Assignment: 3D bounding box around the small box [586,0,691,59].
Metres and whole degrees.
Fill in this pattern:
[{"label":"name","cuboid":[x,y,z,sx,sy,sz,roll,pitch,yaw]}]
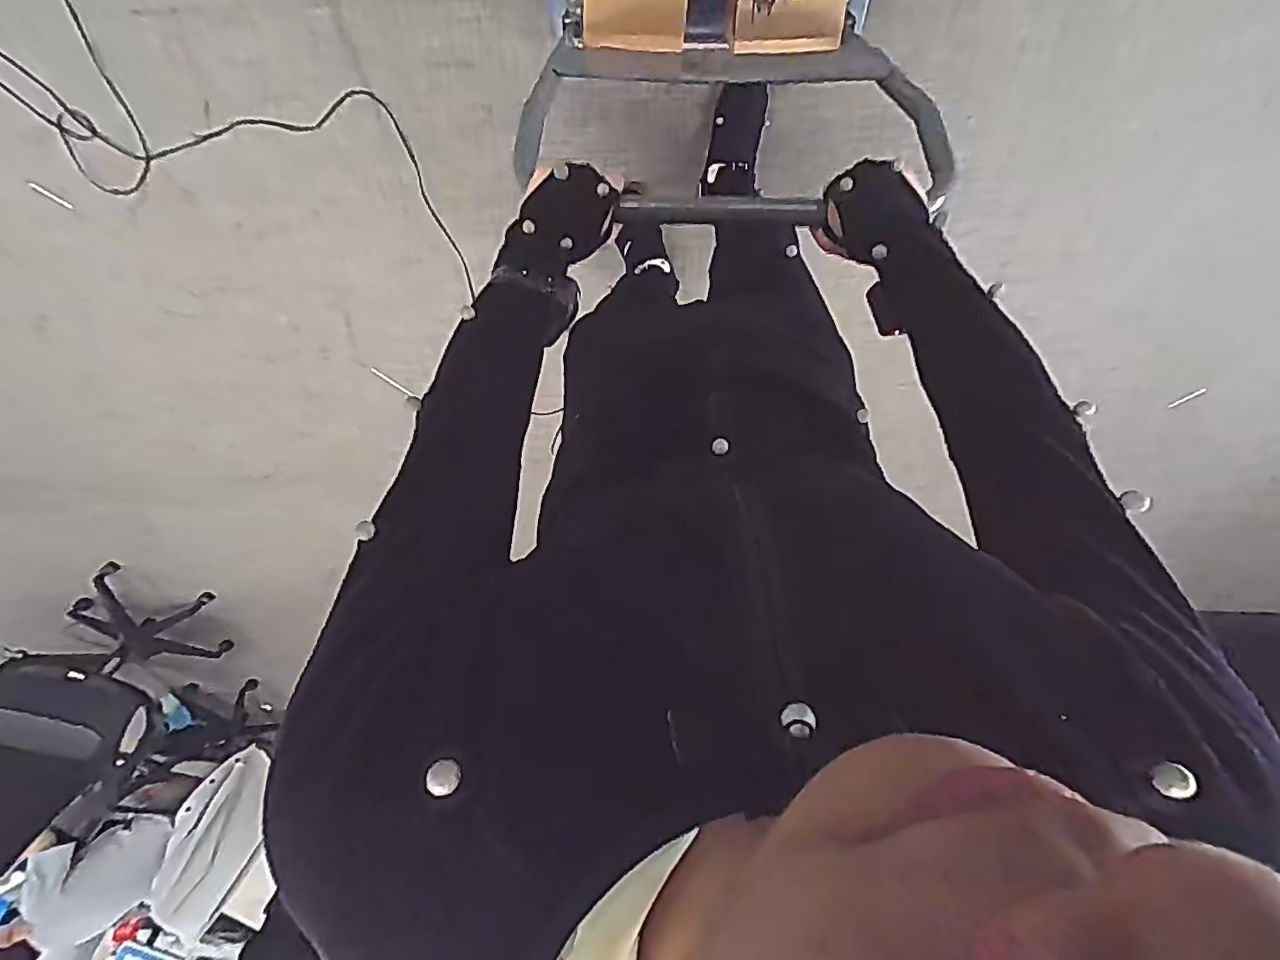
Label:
[{"label":"small box","cuboid":[0.000,-0.825,0.883,0.168,0.176,0.179,4,141,-3]}]
